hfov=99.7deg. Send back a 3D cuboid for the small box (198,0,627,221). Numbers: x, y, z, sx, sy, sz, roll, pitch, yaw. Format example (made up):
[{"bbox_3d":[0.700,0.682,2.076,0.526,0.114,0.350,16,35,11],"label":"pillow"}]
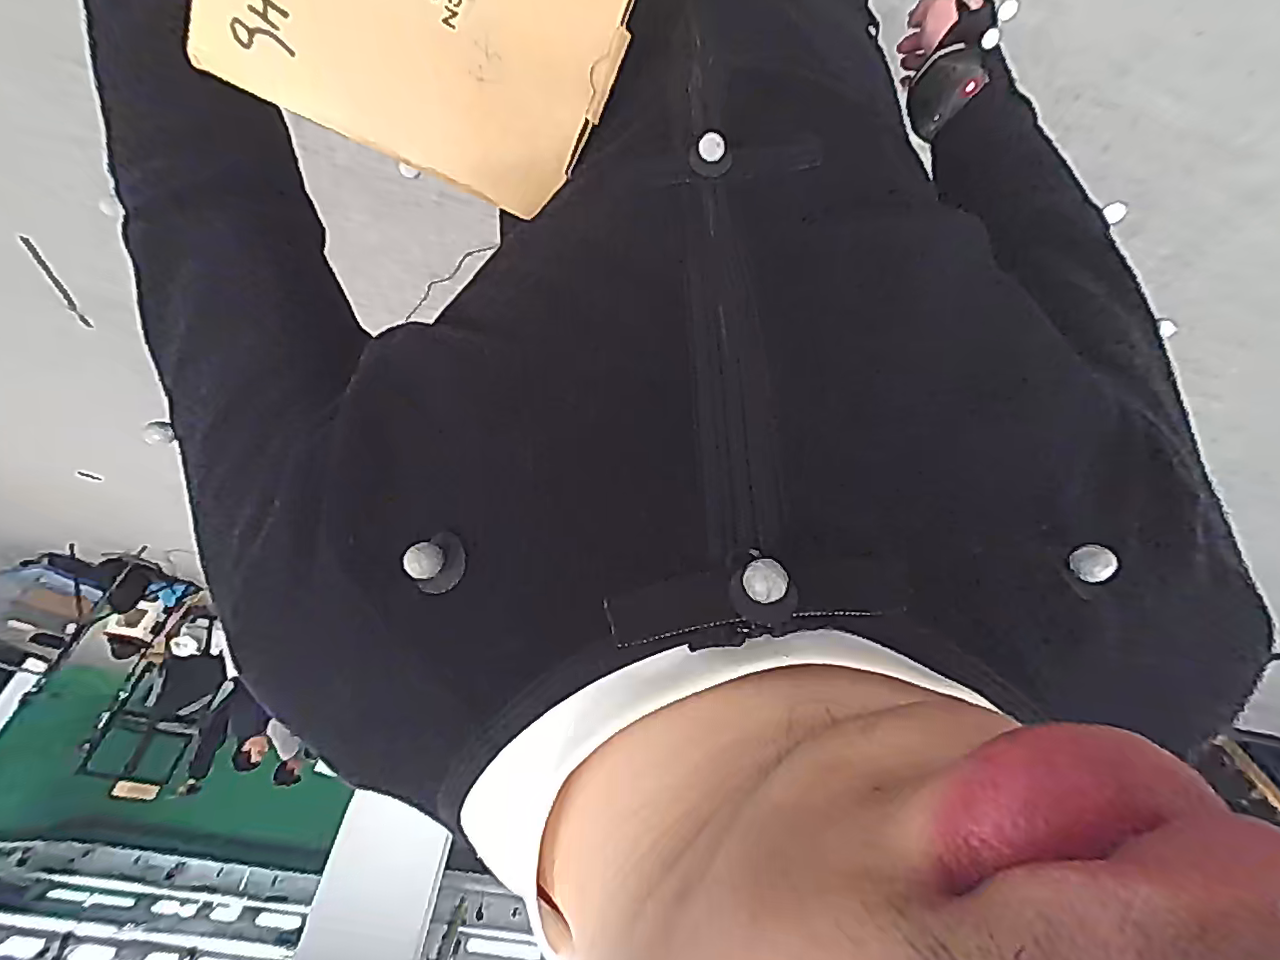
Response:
[{"bbox_3d":[-0.118,-0.283,0.319,0.179,0.176,0.168,14,116,-26],"label":"small box"}]
